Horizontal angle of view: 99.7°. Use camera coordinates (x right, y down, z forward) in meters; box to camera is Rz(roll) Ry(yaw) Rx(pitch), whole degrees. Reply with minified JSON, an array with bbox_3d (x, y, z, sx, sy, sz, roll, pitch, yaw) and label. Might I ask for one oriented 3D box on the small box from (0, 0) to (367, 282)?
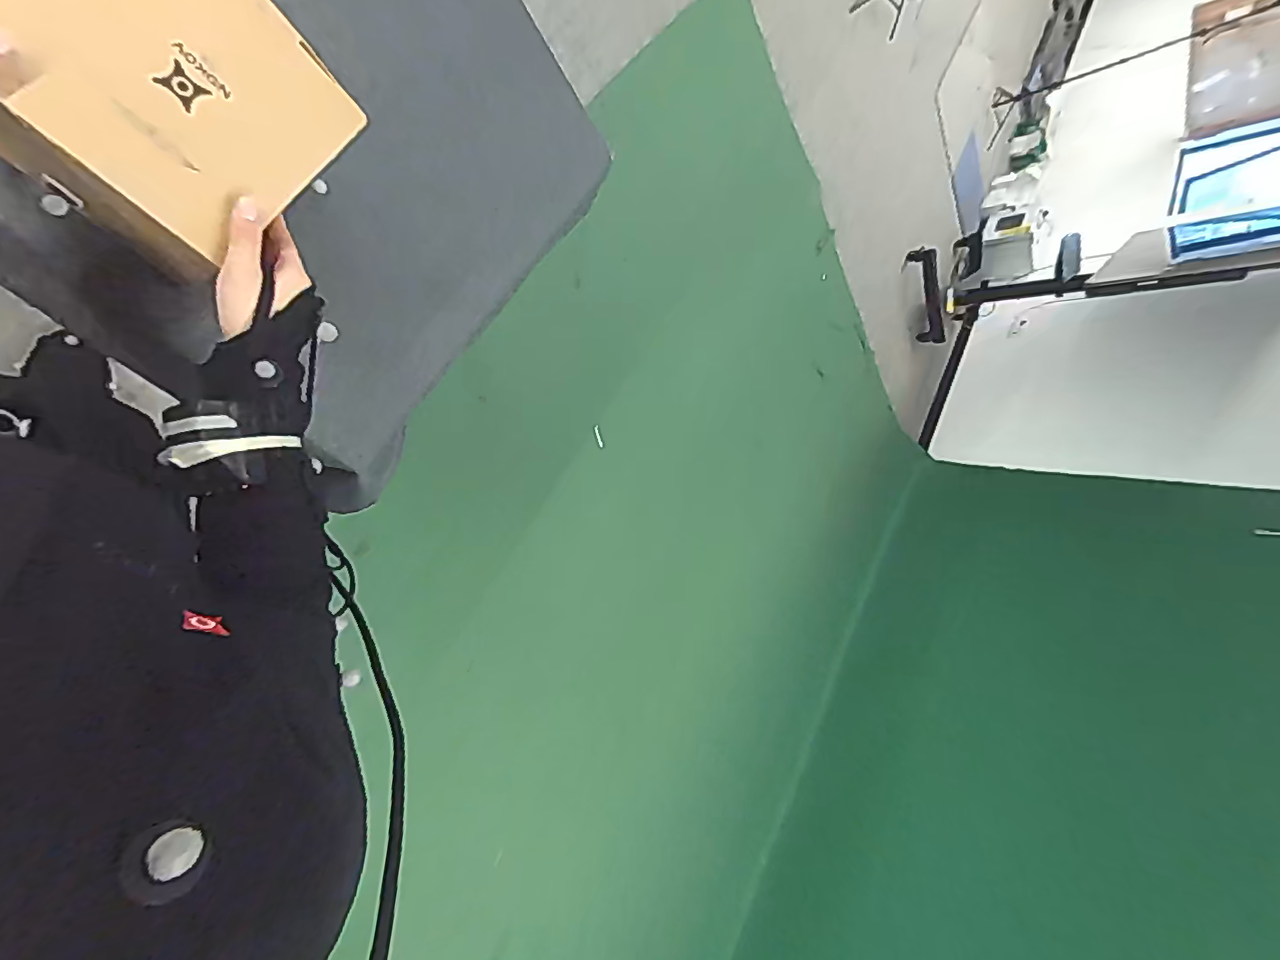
[{"bbox_3d":[-0.359,-0.278,0.415,0.168,0.176,0.179,44,68,-42],"label":"small box"}]
